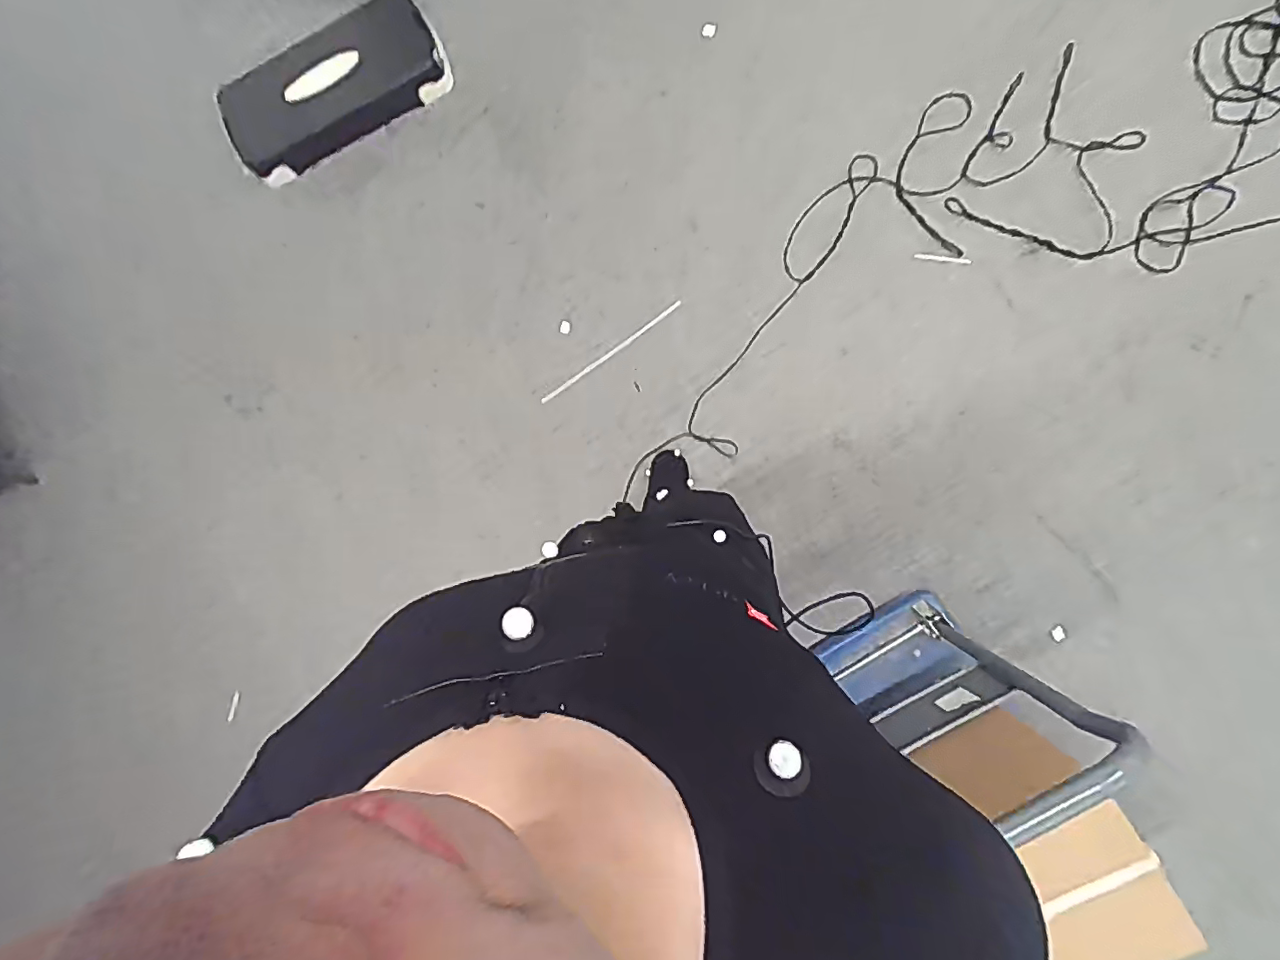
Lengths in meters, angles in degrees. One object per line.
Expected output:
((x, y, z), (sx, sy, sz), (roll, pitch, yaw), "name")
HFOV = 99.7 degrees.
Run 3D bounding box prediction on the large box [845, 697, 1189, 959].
((0.697, 0.713, 1.081), (0.408, 0.320, 0.320), (-32, 84, 6), "large box")
